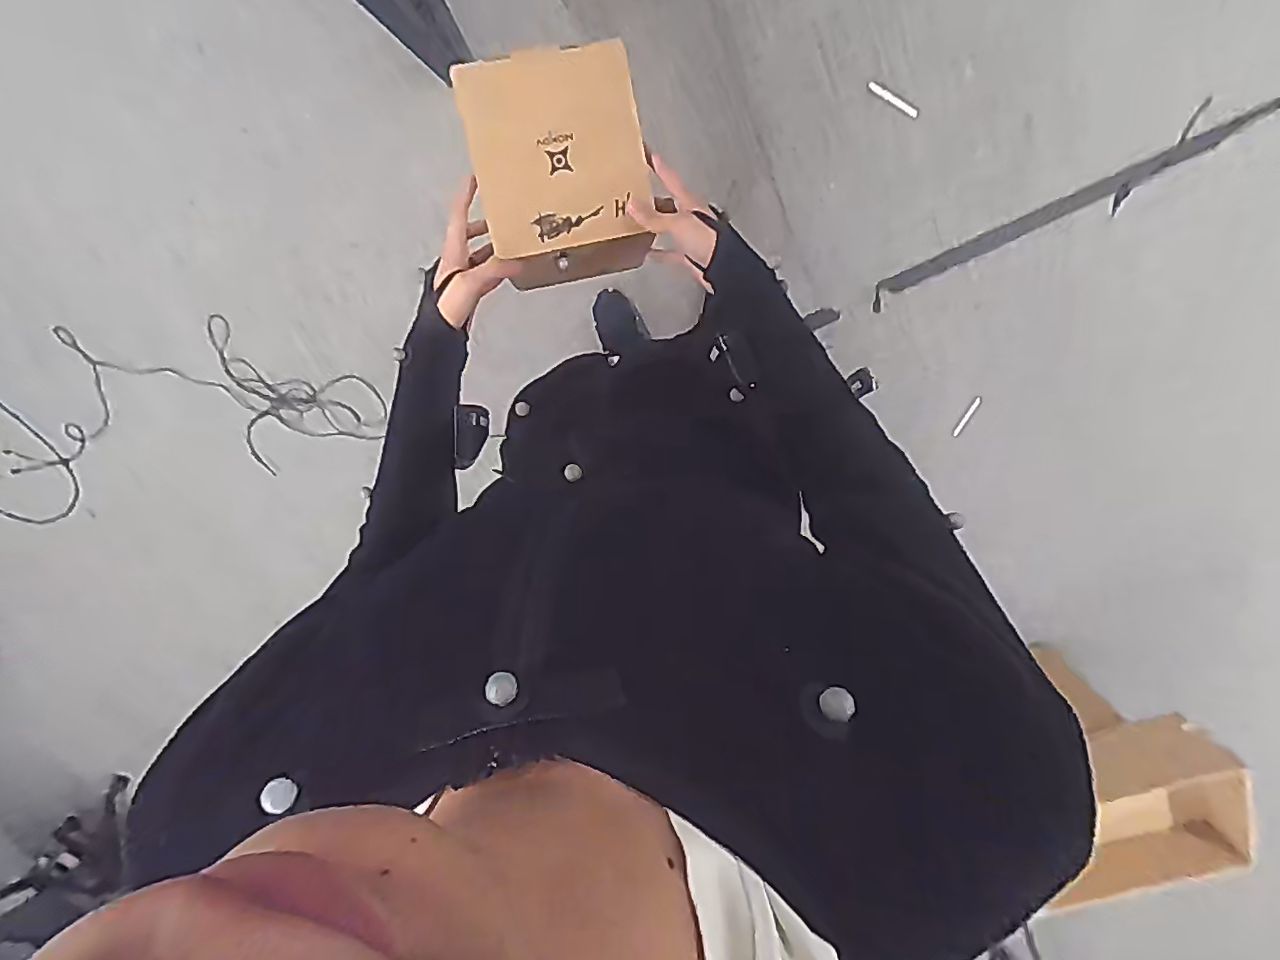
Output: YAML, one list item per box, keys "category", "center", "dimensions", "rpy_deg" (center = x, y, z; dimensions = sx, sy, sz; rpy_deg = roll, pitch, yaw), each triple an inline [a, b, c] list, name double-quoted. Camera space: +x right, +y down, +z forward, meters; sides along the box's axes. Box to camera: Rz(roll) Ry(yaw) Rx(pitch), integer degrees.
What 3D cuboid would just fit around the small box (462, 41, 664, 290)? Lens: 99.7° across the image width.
- category: "small box"
  center: [-0.079, -0.324, 0.592]
  dimensions: [0.168, 0.176, 0.179]
  rpy_deg: [-12, 101, -4]
